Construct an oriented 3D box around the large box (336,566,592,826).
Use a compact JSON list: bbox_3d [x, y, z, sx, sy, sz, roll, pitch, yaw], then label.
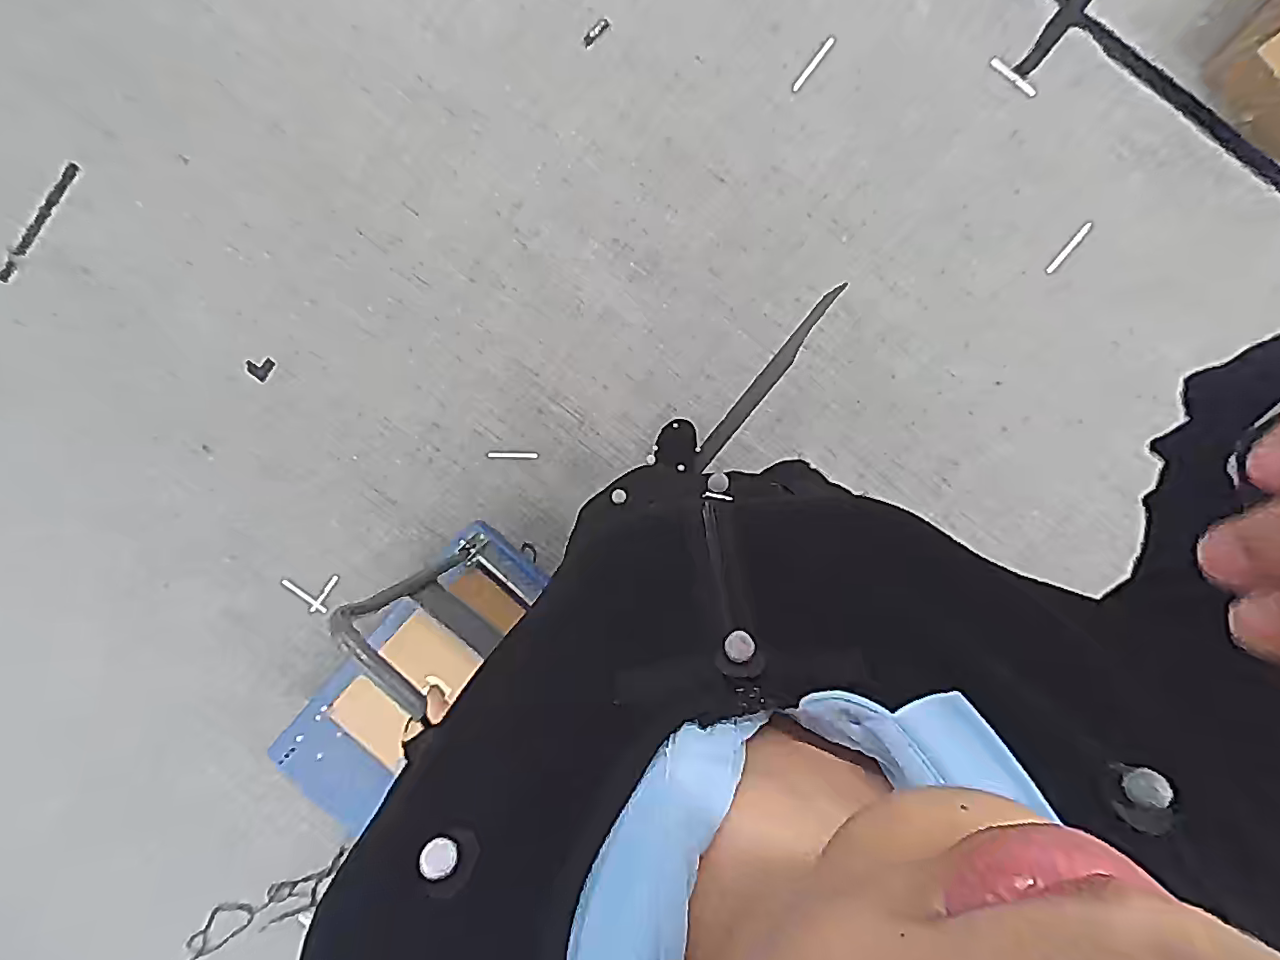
[{"bbox_3d":[-0.374,0.469,1.253,0.408,0.320,0.320,42,95,-1],"label":"large box"}]
